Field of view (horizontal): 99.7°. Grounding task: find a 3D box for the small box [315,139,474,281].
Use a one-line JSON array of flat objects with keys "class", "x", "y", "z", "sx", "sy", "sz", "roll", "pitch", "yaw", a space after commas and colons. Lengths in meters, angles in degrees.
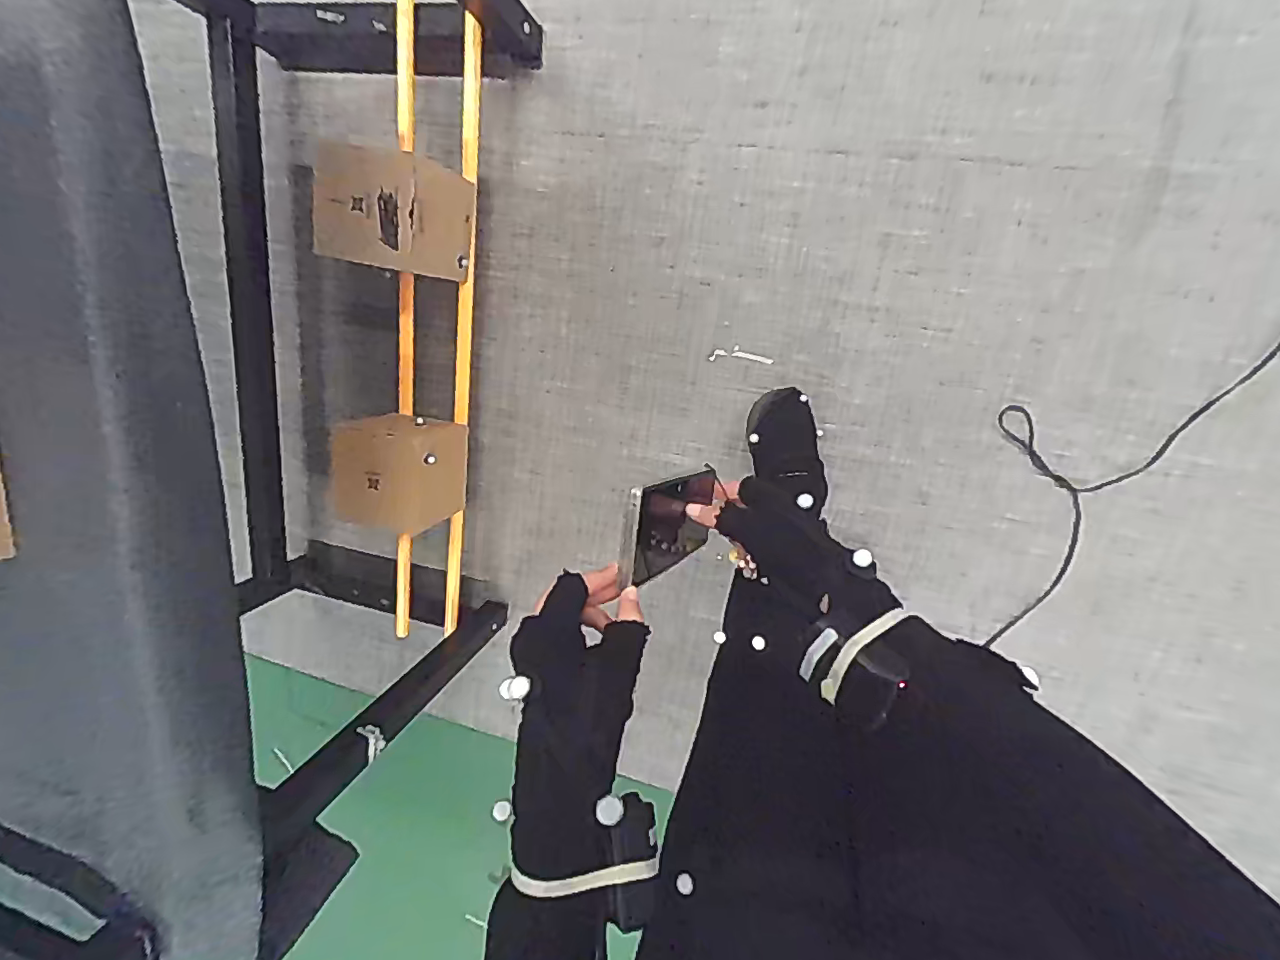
[{"class": "small box", "x": -0.393, "y": -0.428, "z": 0.884, "sx": 0.179, "sy": 0.176, "sz": 0.168, "roll": 14, "pitch": 106, "yaw": 11}]
